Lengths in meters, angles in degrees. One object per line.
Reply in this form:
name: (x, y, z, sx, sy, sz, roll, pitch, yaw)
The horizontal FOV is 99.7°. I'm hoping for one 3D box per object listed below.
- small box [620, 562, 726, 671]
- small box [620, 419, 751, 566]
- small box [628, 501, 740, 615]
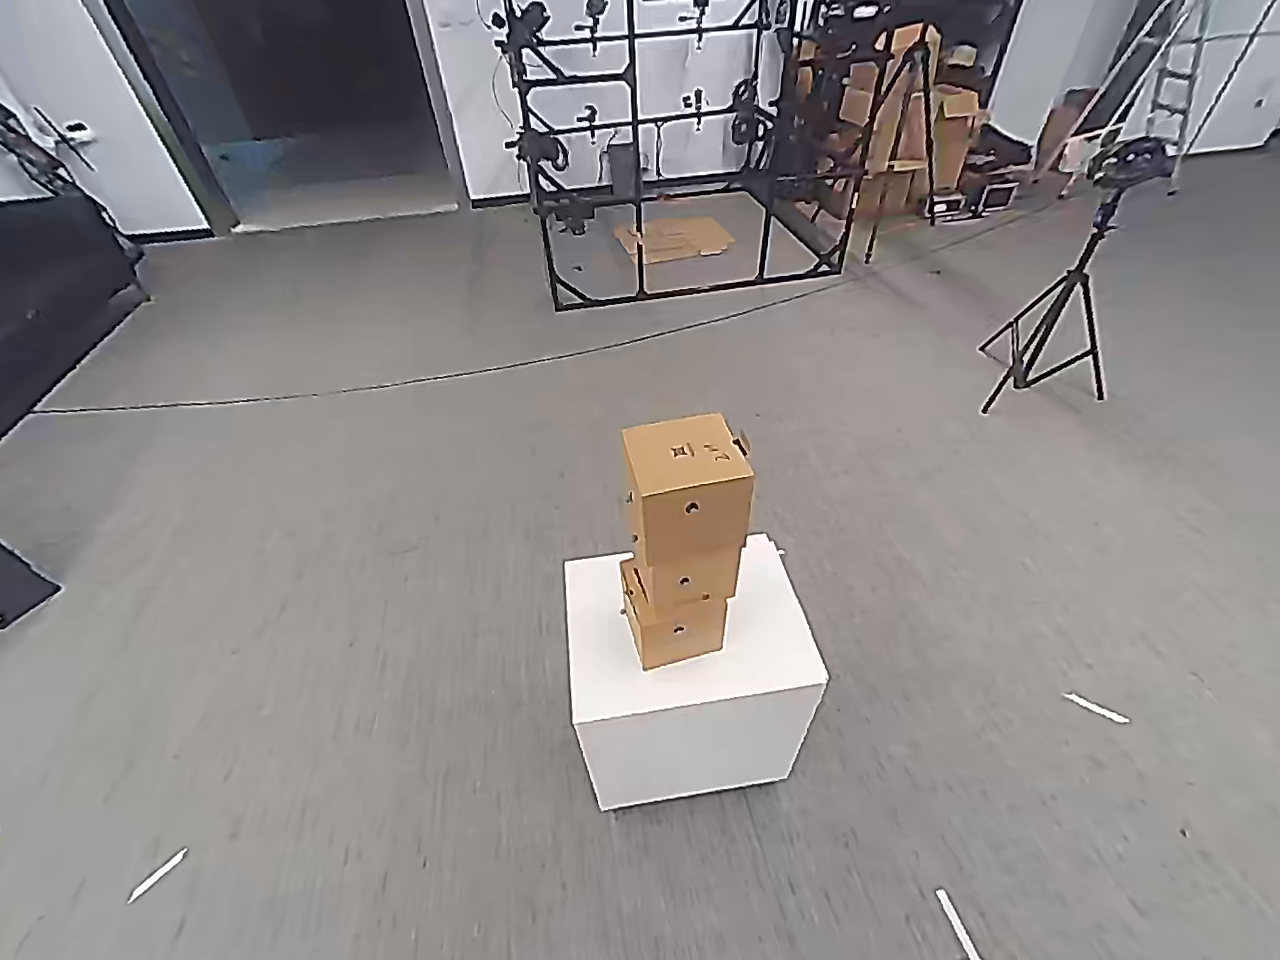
small box: (0.065, 0.270, 1.121, 0.179, 0.176, 0.168, -12, 44, -10)
small box: (0.072, 0.024, 0.904, 0.179, 0.176, 0.168, -10, 43, -7)
small box: (0.079, 0.136, 1.026, 0.168, 0.176, 0.179, -12, 43, -9)
